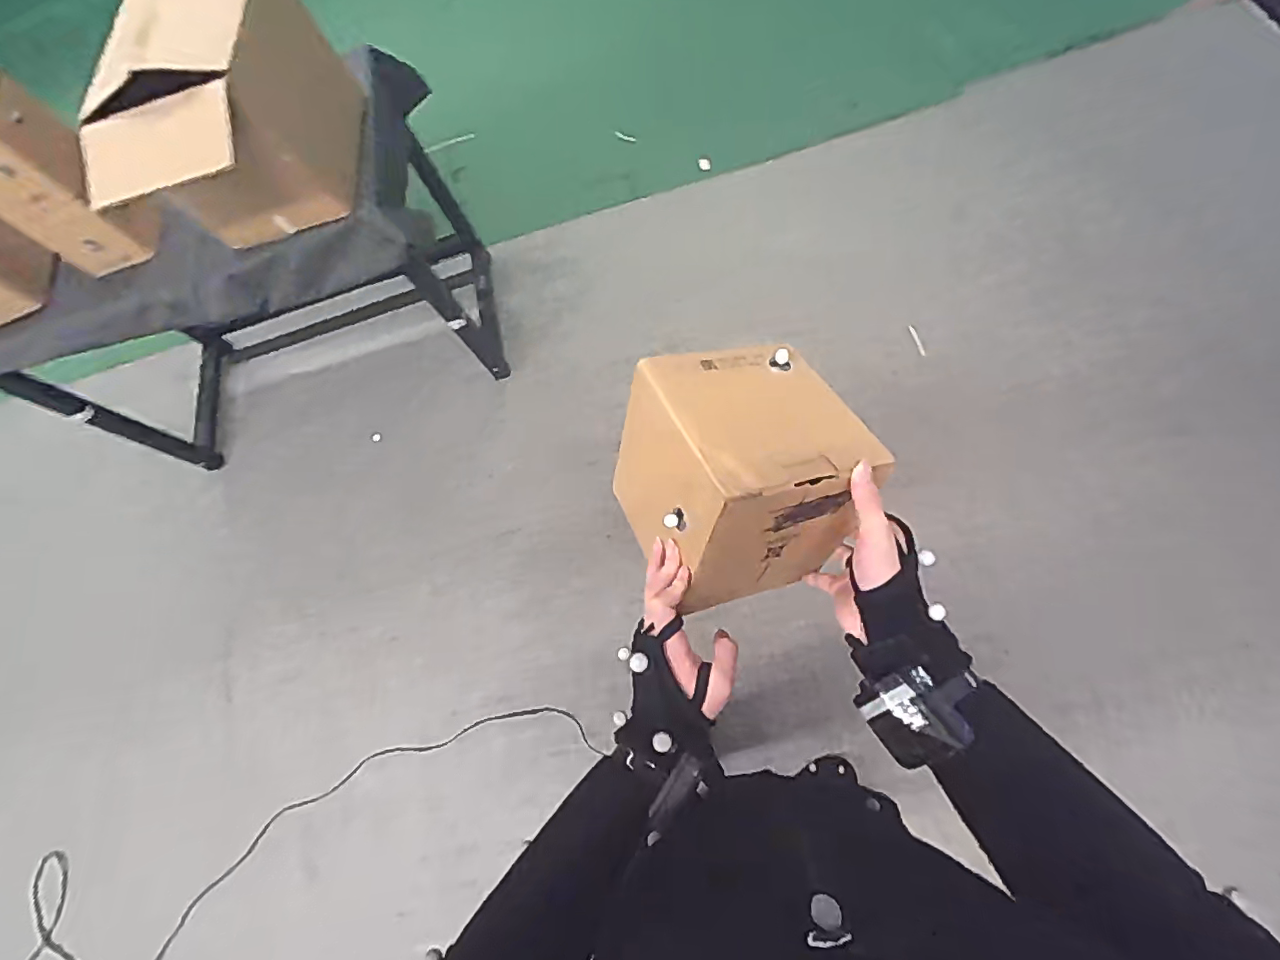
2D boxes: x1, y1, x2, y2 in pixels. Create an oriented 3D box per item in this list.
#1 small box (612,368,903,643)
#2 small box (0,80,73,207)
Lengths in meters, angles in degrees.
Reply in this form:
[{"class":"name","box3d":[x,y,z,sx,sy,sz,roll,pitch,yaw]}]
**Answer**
[{"class":"small box","box3d":[0.085,0.014,0.491,0.168,0.179,0.176,-12,53,-22]},{"class":"small box","box3d":[-1.277,-0.665,1.055,0.168,0.176,0.179,-15,67,5]}]
